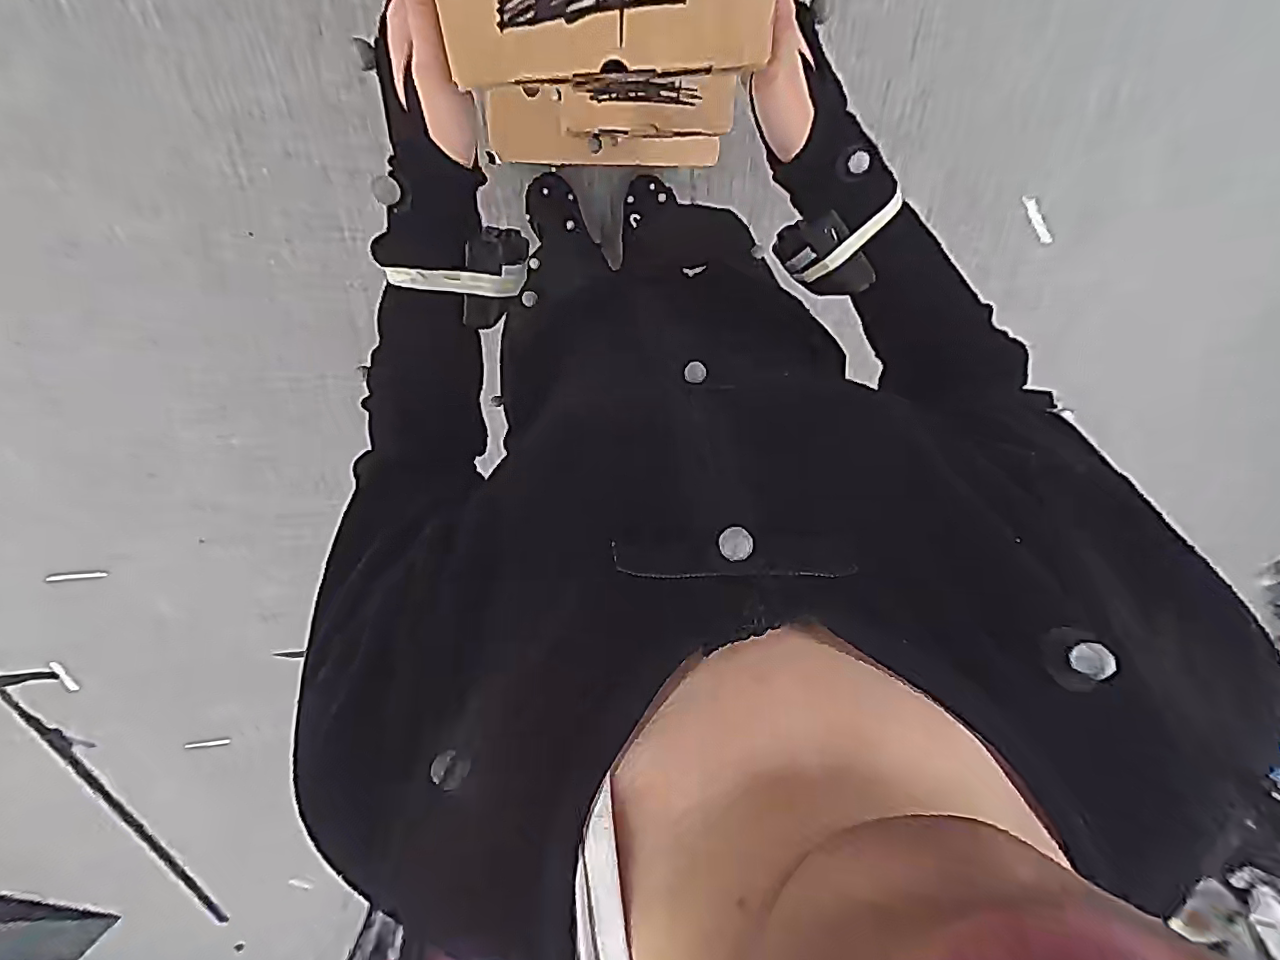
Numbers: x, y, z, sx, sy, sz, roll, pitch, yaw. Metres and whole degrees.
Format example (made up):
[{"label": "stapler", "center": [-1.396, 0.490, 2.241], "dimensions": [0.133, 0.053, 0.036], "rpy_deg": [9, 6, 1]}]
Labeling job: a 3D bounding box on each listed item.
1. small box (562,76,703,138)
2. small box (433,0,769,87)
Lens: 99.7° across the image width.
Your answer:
[{"label": "small box", "center": [-0.017, -0.542, 0.688], "dimensions": [0.168, 0.176, 0.179], "rpy_deg": [-4, 123, -6]}, {"label": "small box", "center": [-0.027, -0.325, 0.287], "dimensions": [0.168, 0.176, 0.179], "rpy_deg": [-6, 129, -4]}]
